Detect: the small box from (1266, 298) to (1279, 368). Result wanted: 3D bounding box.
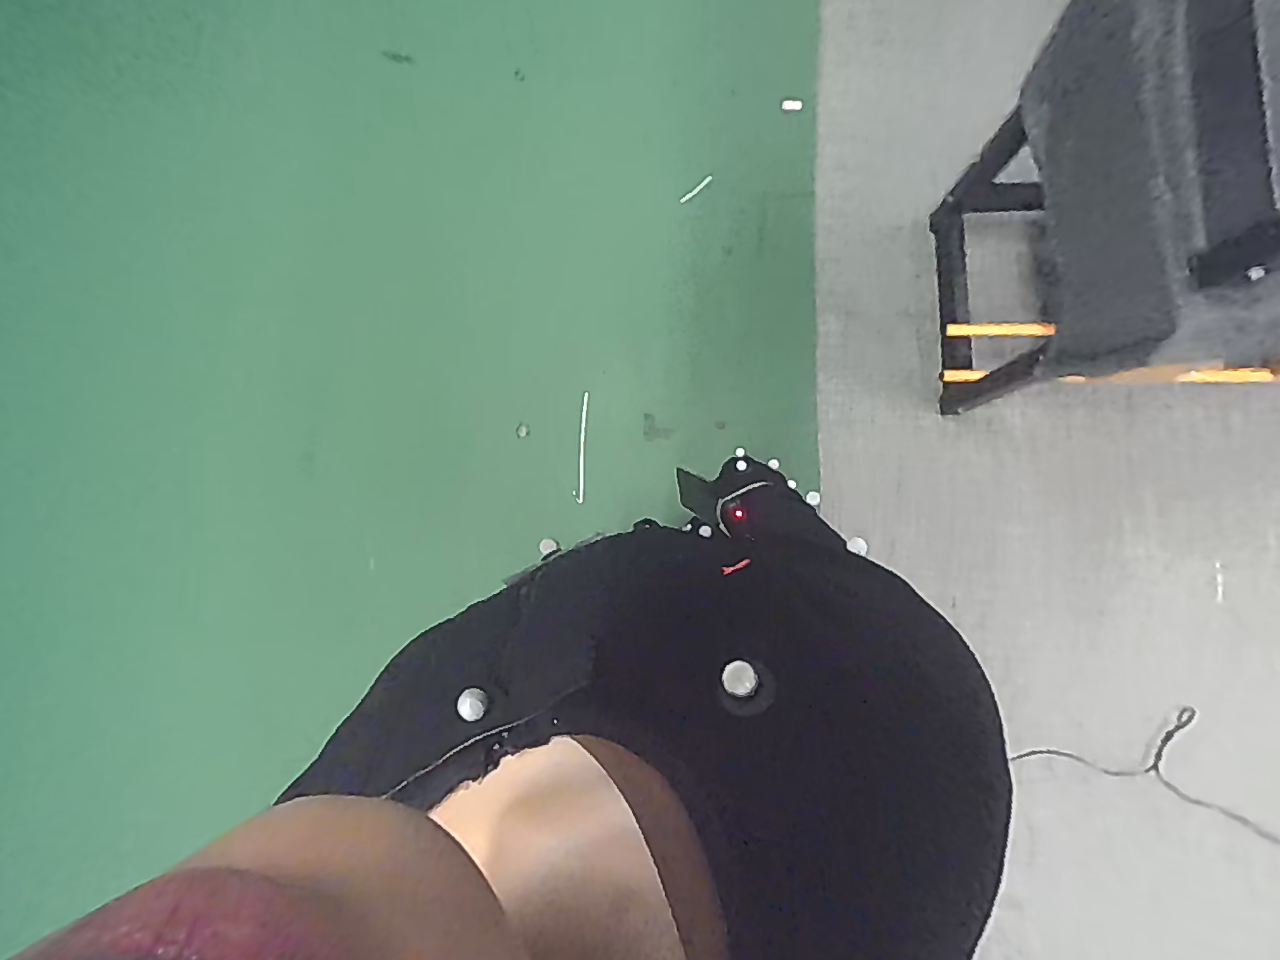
[{"bbox_3d":[1.603,-0.352,1.234,0.168,0.176,0.179,3,85,4],"label":"small box"}]
